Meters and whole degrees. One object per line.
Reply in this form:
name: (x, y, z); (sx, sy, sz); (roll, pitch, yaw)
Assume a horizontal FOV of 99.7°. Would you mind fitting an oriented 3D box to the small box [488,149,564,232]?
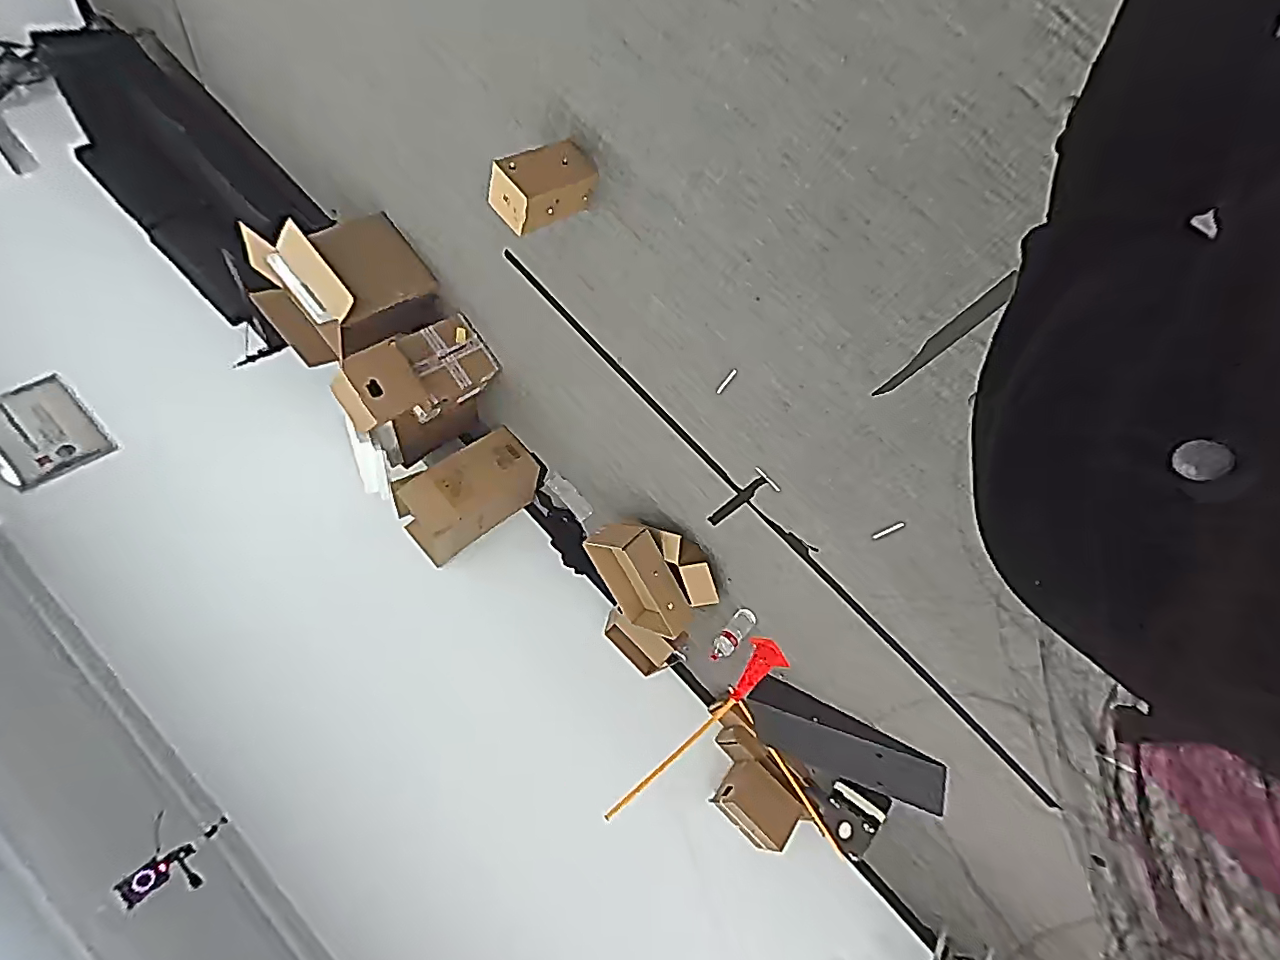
small box: (-0.391, -0.996, 1.848); (0.179, 0.176, 0.168); (48, 150, 2)
